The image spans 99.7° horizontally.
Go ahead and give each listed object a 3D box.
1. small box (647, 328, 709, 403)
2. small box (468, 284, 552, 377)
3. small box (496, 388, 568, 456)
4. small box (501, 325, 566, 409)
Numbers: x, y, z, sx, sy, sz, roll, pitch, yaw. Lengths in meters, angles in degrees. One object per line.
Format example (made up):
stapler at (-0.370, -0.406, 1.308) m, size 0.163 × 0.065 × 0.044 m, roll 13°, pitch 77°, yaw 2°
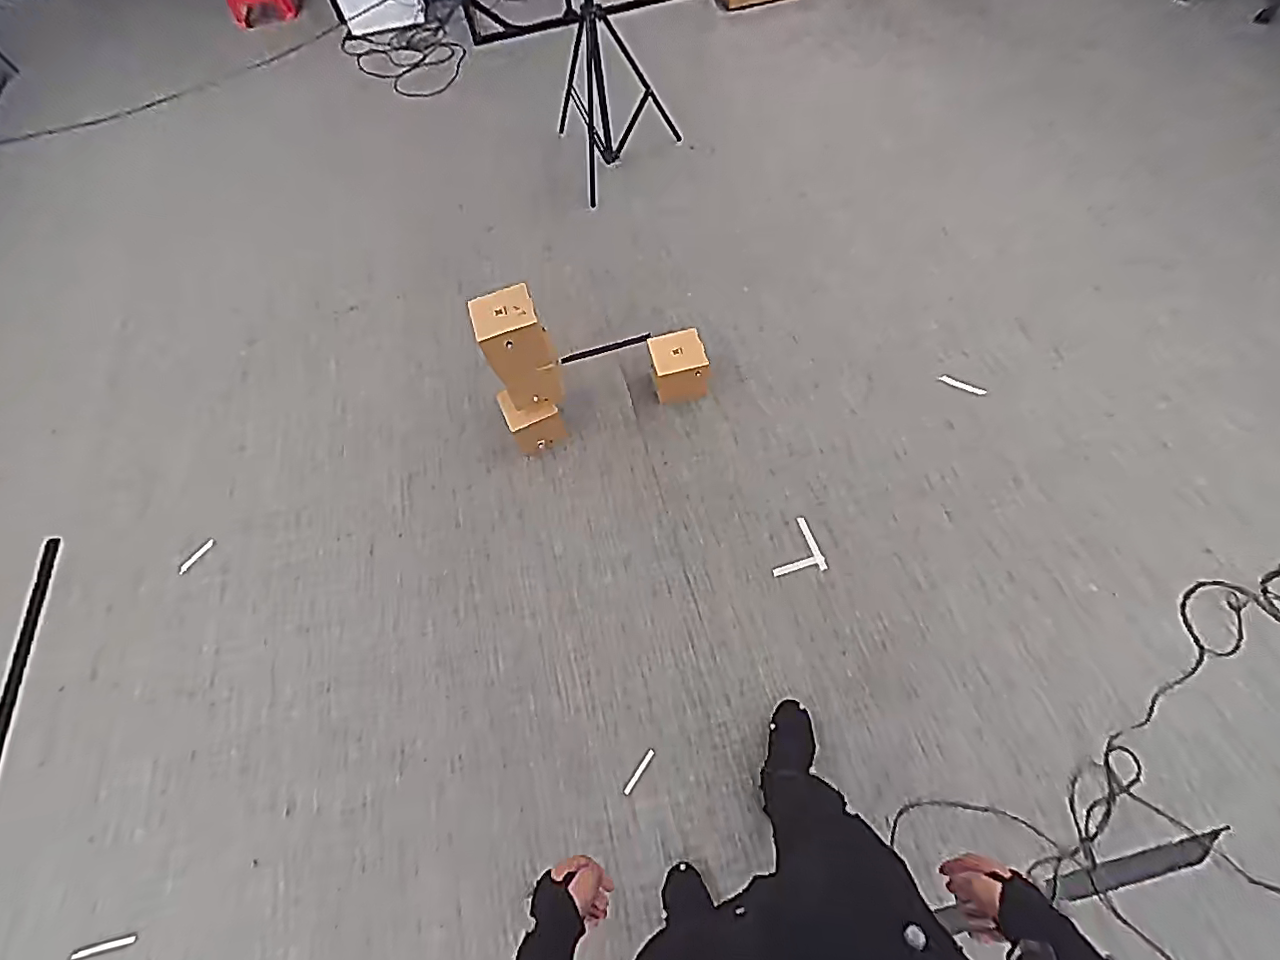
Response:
small box at (0.131, -0.387, 1.853) m, size 0.179 × 0.176 × 0.168 m, roll -14°, pitch 62°, yaw -2°
small box at (-0.369, -0.423, 1.554) m, size 0.179 × 0.176 × 0.168 m, roll -19°, pitch 62°, yaw -3°
small box at (-0.358, -0.213, 1.814) m, size 0.168 × 0.176 × 0.179 m, roll -25°, pitch 63°, yaw -6°
small box at (-0.338, -0.352, 1.699) m, size 0.168 × 0.176 × 0.179 m, roll -12°, pitch 62°, yaw 1°
